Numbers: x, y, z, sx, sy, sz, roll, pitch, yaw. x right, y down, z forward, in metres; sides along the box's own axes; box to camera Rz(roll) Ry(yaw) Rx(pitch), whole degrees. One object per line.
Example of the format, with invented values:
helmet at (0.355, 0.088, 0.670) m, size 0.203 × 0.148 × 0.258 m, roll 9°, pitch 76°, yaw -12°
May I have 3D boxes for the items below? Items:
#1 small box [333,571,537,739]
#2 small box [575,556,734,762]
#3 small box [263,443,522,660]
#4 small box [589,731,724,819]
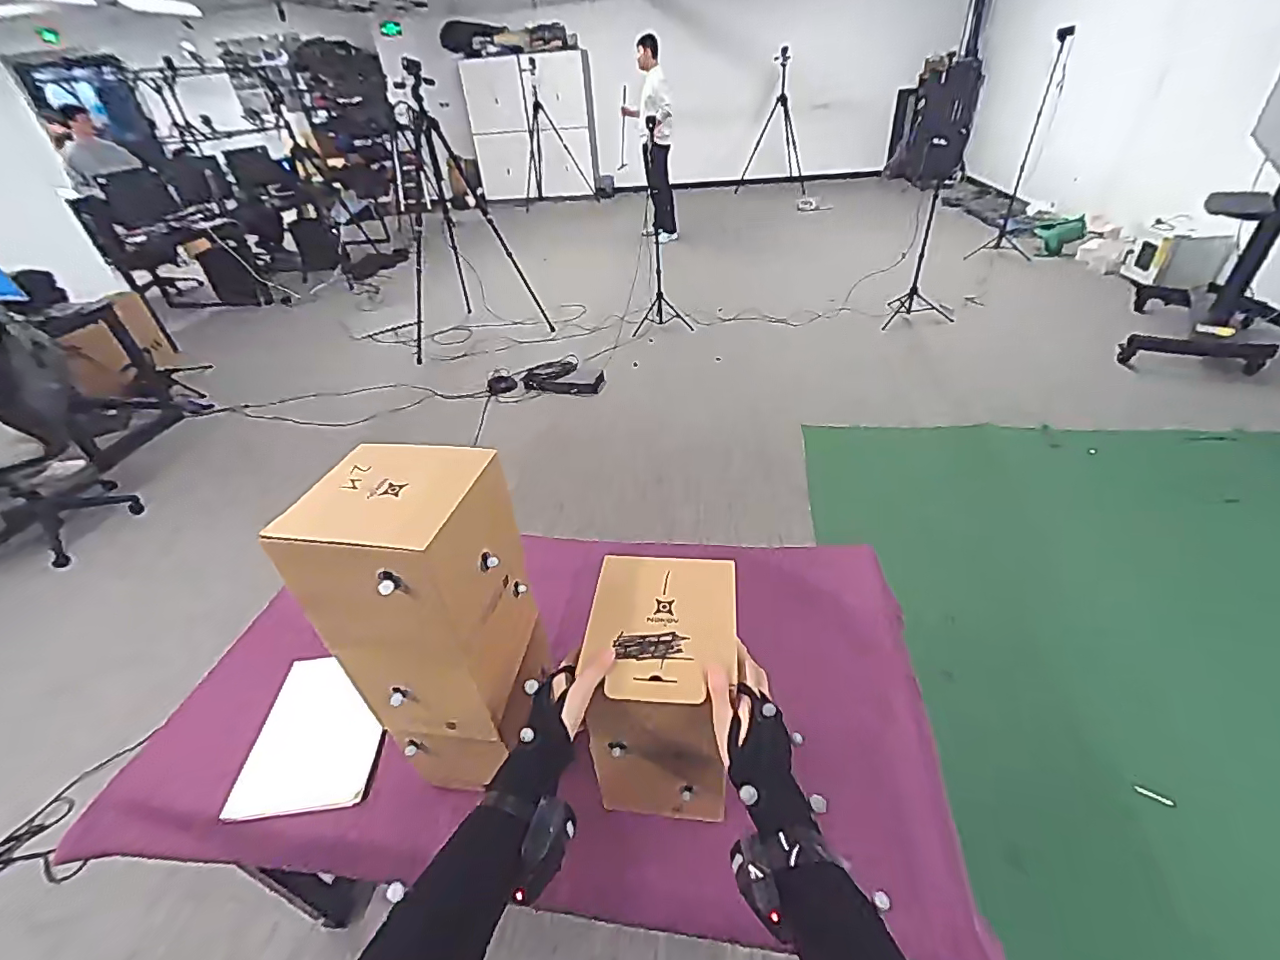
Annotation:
small box at (-0.243, 0.206, 0.698) m, size 0.168 × 0.176 × 0.179 m, roll 2°, pitch 36°, yaw 9°
small box at (0.029, 0.215, 0.657) m, size 0.168 × 0.176 × 0.179 m, roll 2°, pitch 36°, yaw 8°
small box at (-0.247, 0.076, 0.595) m, size 0.179 × 0.176 × 0.168 m, roll 3°, pitch 35°, yaw 11°
small box at (0.036, 0.343, 0.758) m, size 0.168 × 0.176 × 0.179 m, roll 2°, pitch 36°, yaw 9°
